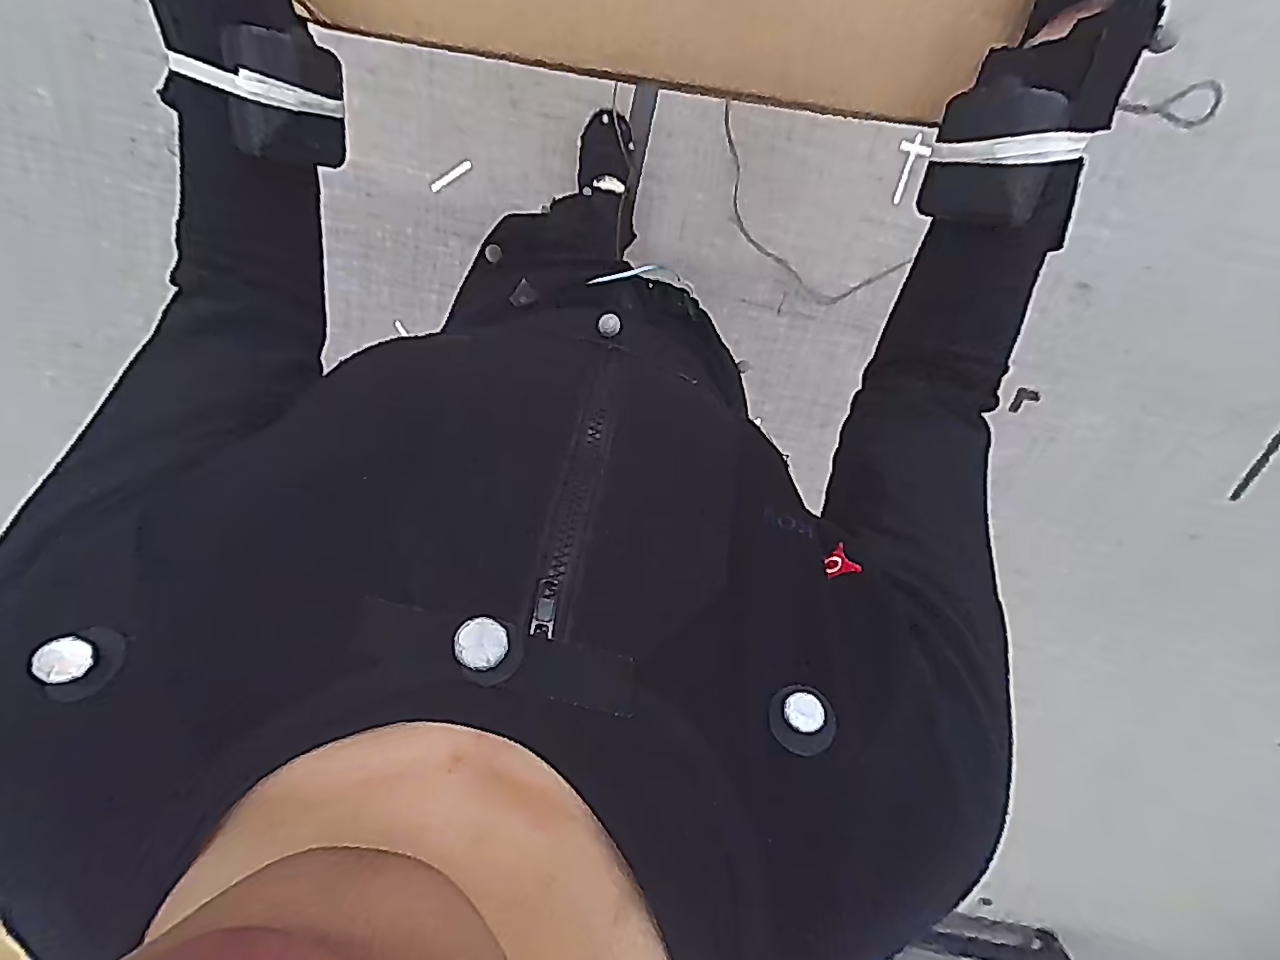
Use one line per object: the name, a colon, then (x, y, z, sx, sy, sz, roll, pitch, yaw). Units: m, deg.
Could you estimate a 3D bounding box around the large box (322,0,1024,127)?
large box: (0.033, -0.449, 0.359, 0.408, 0.320, 0.320, 7, 127, -2)
